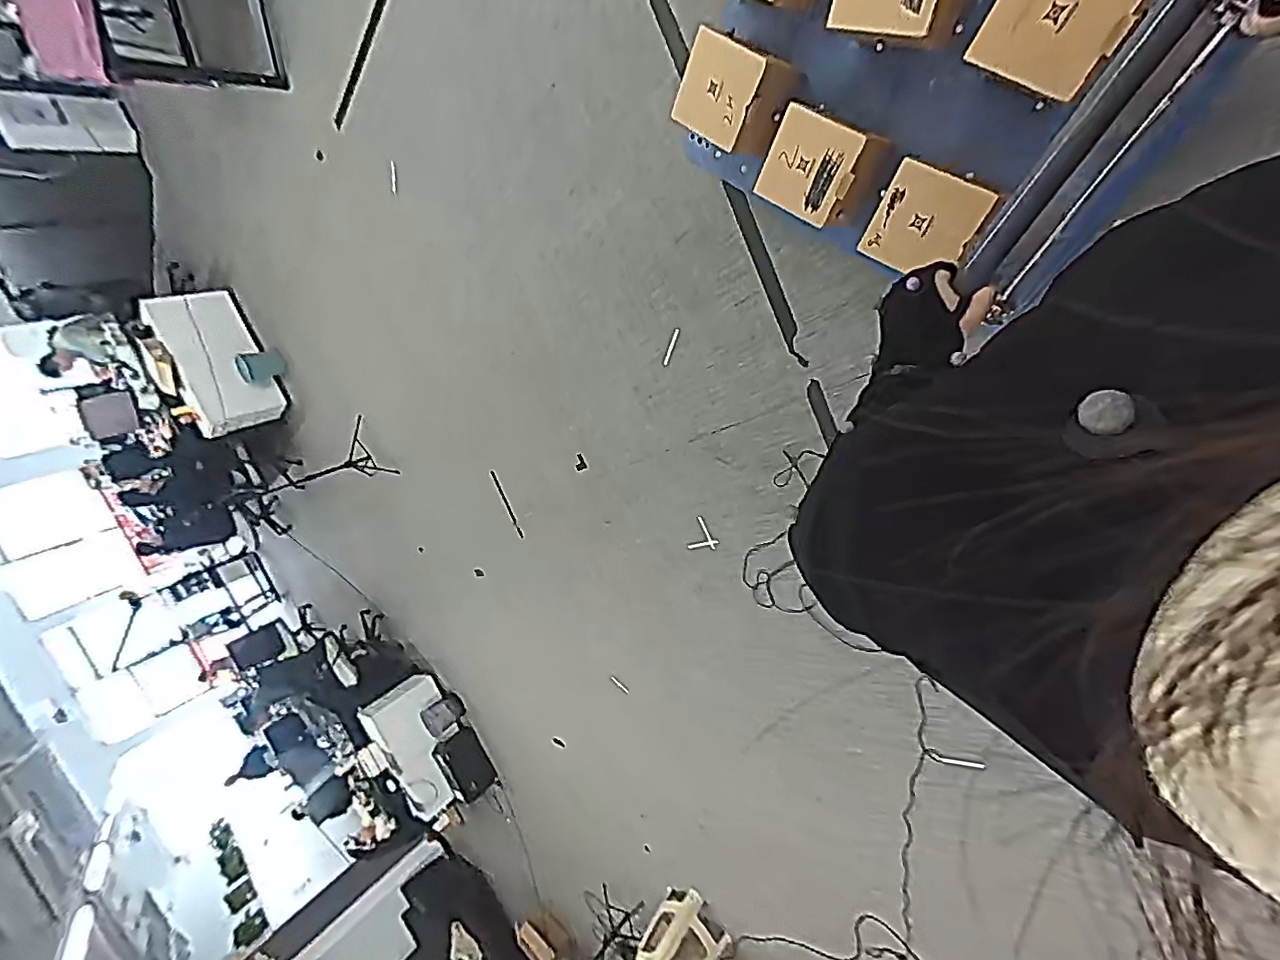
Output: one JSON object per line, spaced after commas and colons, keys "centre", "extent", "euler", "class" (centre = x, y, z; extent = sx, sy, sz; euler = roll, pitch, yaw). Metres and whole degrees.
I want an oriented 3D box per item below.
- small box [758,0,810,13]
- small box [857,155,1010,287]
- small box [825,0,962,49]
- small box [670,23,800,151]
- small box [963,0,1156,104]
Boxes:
{"centre": [0.245, -0.999, 1.000], "extent": [0.179, 0.176, 0.168], "euler": [38, 133, 20], "class": "small box"}
{"centre": [0.549, -0.485, 1.008], "extent": [0.179, 0.176, 0.168], "euler": [38, 132, 20], "class": "small box"}
{"centre": [0.446, -0.843, 0.904], "extent": [0.179, 0.176, 0.168], "euler": [31, 130, 27], "class": "small box"}
{"centre": [0.199, -0.815, 1.139], "extent": [0.179, 0.176, 0.168], "euler": [41, 134, 16], "class": "small box"}
{"centre": [0.638, -0.694, 0.815], "extent": [0.179, 0.176, 0.168], "euler": [41, 133, 18], "class": "small box"}
